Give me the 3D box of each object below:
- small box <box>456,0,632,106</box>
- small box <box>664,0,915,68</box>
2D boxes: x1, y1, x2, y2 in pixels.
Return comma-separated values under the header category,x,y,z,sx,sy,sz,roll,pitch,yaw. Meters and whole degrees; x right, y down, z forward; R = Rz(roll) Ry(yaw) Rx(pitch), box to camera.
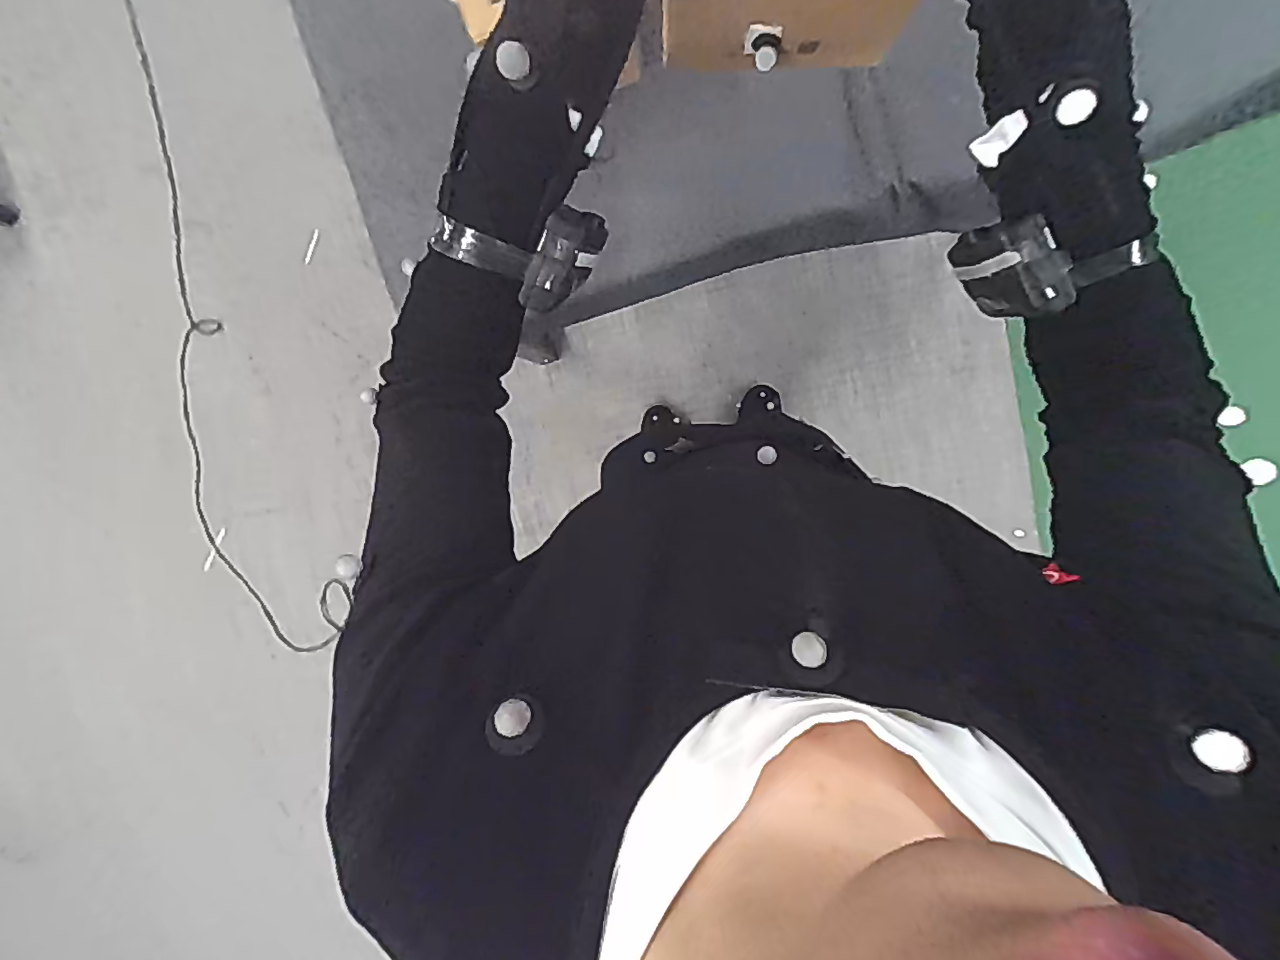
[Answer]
category,x,y,z,sx,sy,sz,roll,pitch,yaw
small box,-0.111,-0.543,0.577,0.168,0.176,0.179,-19,96,4
small box,0.100,-0.392,0.322,0.168,0.176,0.179,-1,98,0
